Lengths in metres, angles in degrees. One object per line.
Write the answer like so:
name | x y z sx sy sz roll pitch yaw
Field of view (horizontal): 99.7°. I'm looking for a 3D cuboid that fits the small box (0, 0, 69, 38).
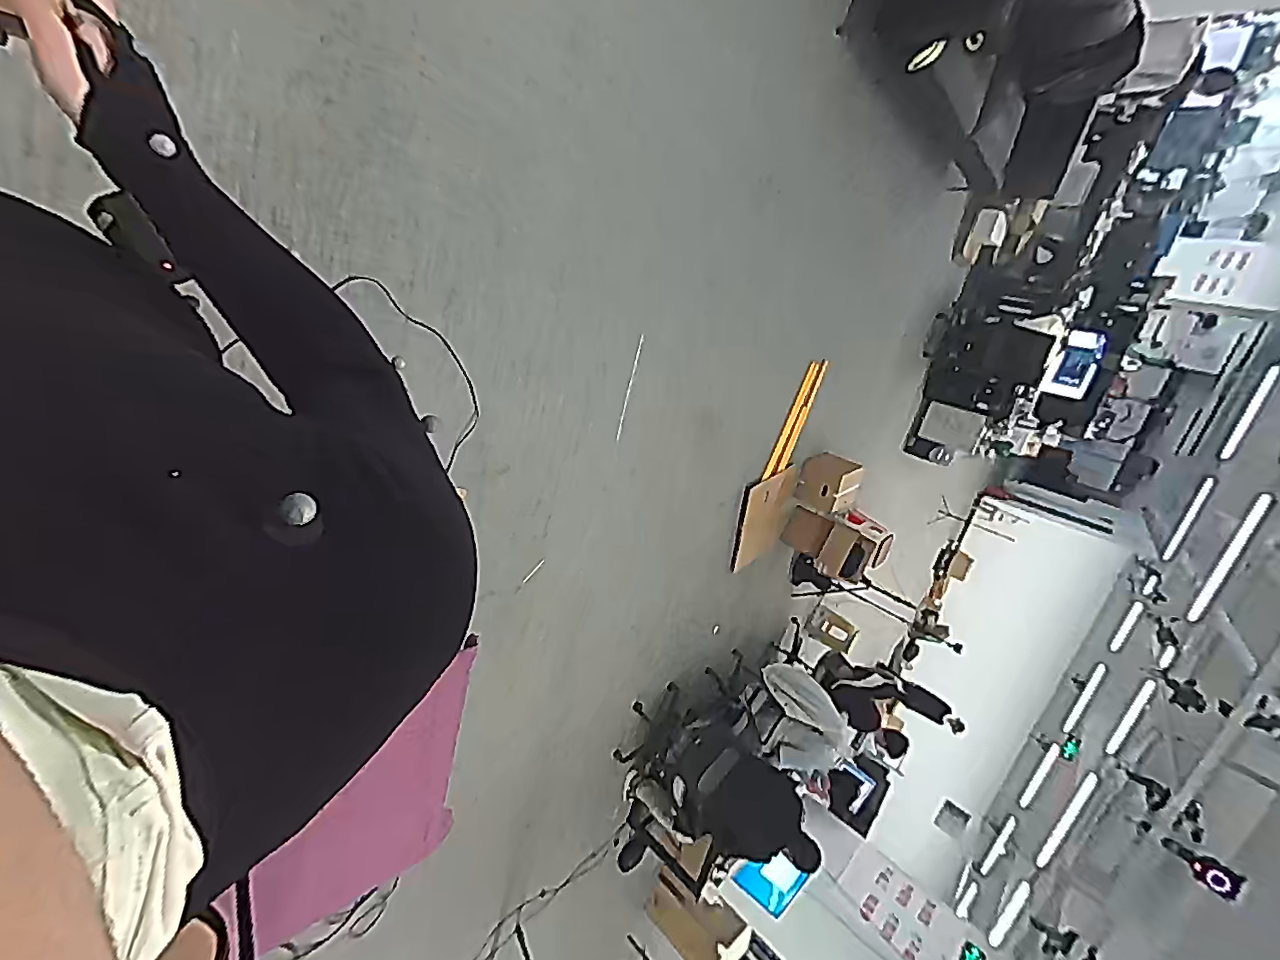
small box | -0.527 -0.435 0.367 0.179 0.176 0.168 -9 119 -43
